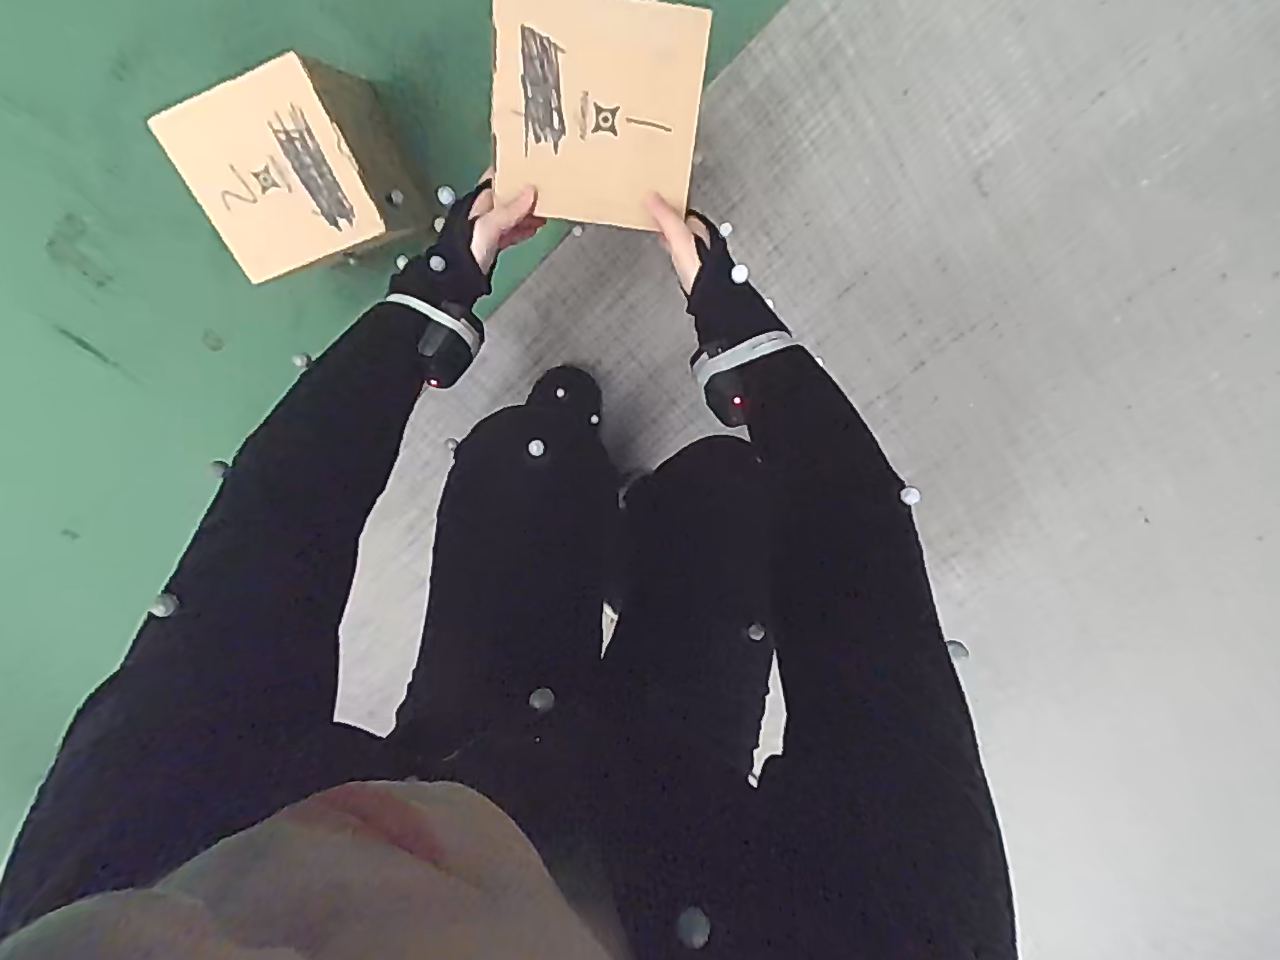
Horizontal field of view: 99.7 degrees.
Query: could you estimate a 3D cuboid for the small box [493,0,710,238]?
[{"bbox_3d":[-0.039,-0.342,0.541,0.179,0.176,0.168,6,114,-3],"label":"small box"}]
